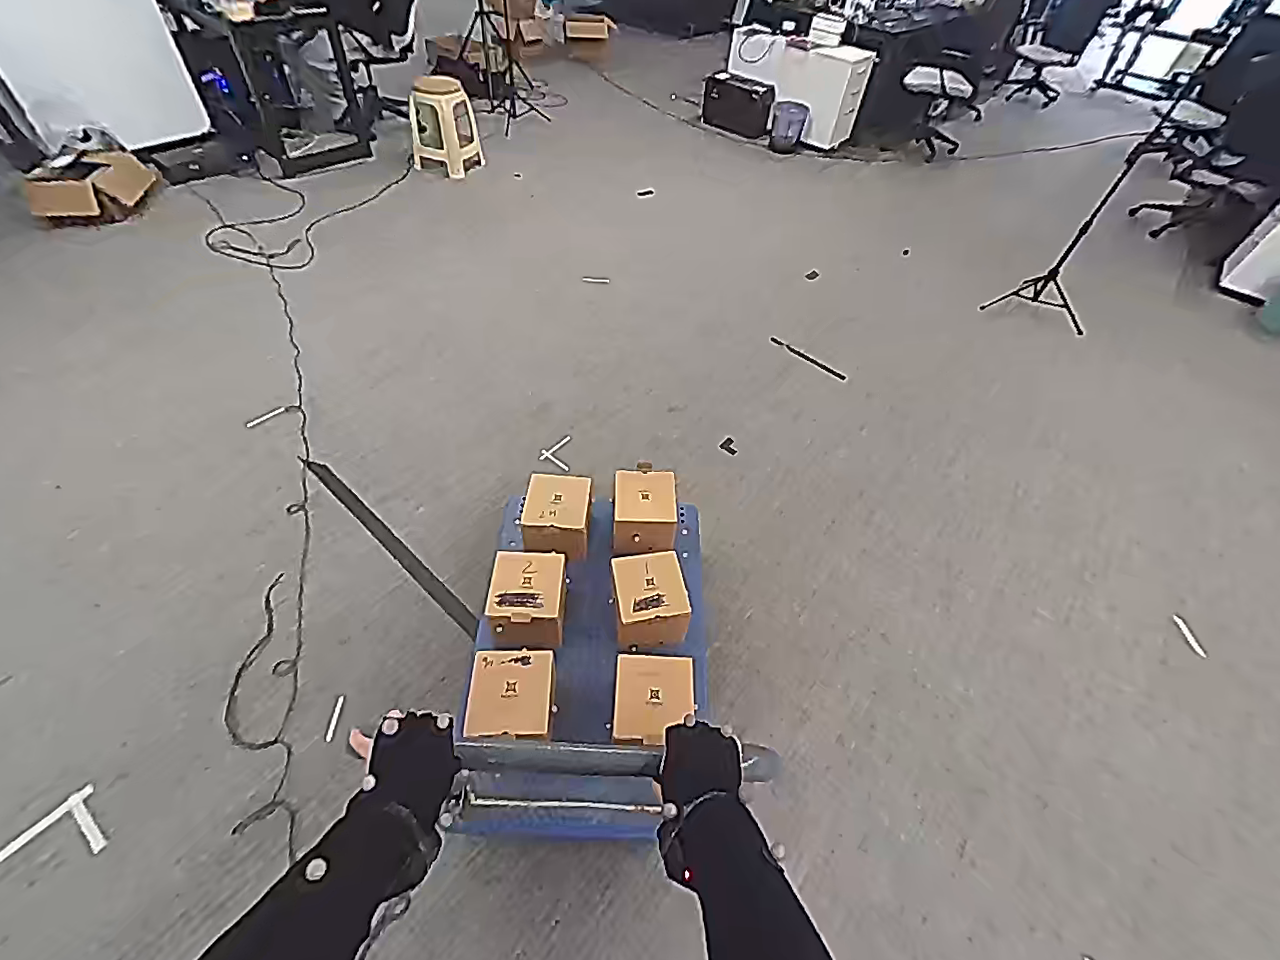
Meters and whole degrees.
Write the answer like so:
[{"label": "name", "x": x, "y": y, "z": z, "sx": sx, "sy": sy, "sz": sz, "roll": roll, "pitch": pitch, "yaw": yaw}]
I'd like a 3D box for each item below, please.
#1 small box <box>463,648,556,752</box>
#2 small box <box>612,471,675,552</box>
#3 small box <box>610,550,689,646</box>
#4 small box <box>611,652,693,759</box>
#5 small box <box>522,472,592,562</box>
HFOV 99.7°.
[{"label": "small box", "x": -0.273, "y": 0.482, "z": 1.175, "sx": 0.168, "sy": 0.176, "sz": 0.179, "roll": 2, "pitch": 50, "yaw": -5}, {"label": "small box", "x": 0.008, "y": 0.093, "z": 1.532, "sx": 0.168, "sy": 0.176, "sz": 0.179, "roll": 2, "pitch": 50, "yaw": -4}, {"label": "small box", "x": 0.017, "y": 0.302, "z": 1.356, "sx": 0.168, "sy": 0.176, "sz": 0.179, "roll": -5, "pitch": 50, "yaw": -10}, {"label": "small box", "x": 0.024, "y": 0.500, "z": 1.191, "sx": 0.168, "sy": 0.176, "sz": 0.179, "roll": 5, "pitch": 49, "yaw": -2}, {"label": "small box", "x": -0.225, "y": 0.104, "z": 1.497, "sx": 0.168, "sy": 0.176, "sz": 0.179, "roll": 5, "pitch": 51, "yaw": -1}]
